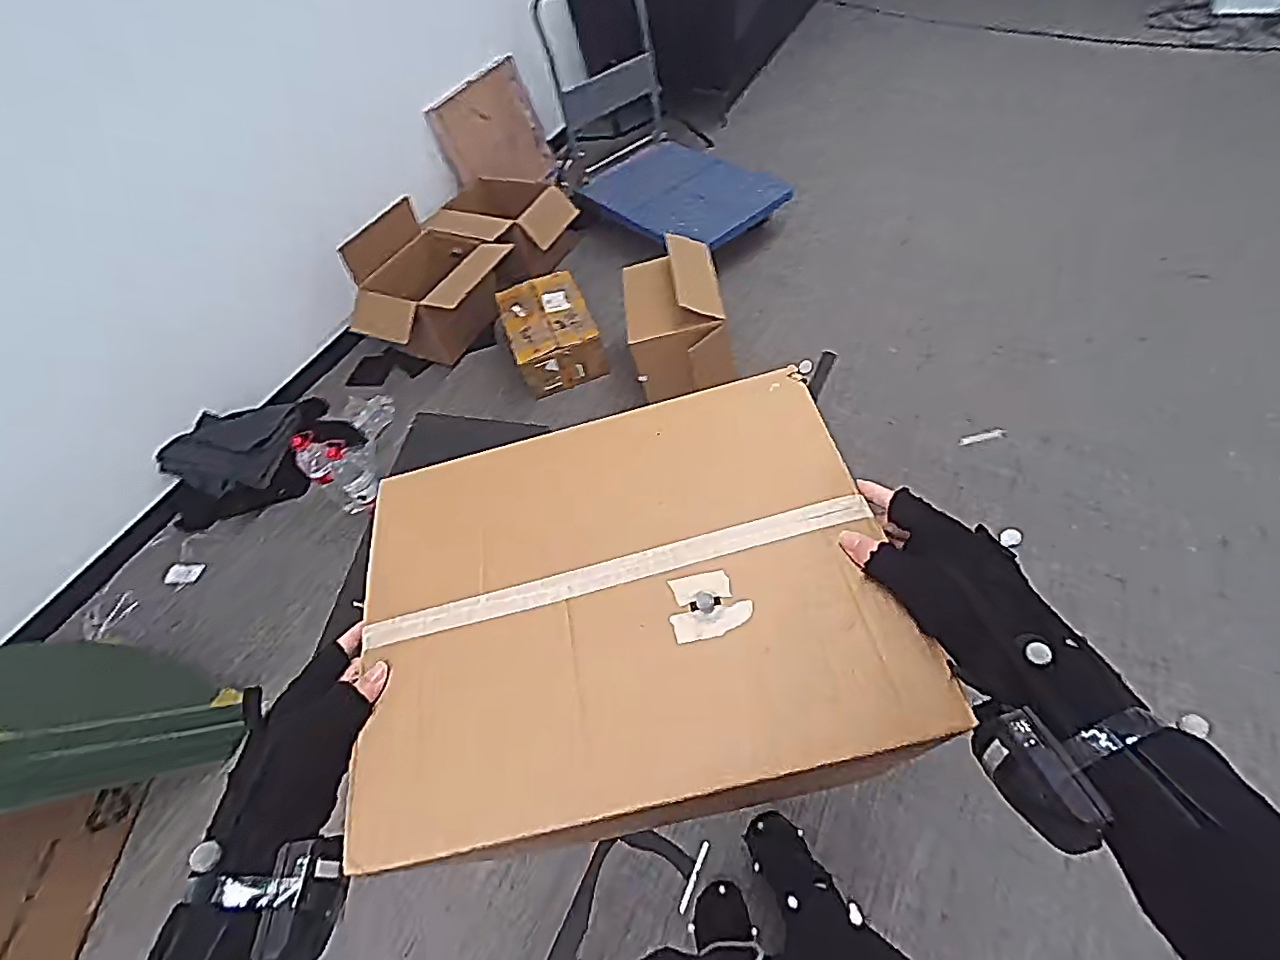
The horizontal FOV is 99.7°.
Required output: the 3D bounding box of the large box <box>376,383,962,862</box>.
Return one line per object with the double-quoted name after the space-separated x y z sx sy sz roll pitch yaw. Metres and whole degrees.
0.013 0.160 0.555 0.408 0.320 0.320 -14 56 2 "large box"
